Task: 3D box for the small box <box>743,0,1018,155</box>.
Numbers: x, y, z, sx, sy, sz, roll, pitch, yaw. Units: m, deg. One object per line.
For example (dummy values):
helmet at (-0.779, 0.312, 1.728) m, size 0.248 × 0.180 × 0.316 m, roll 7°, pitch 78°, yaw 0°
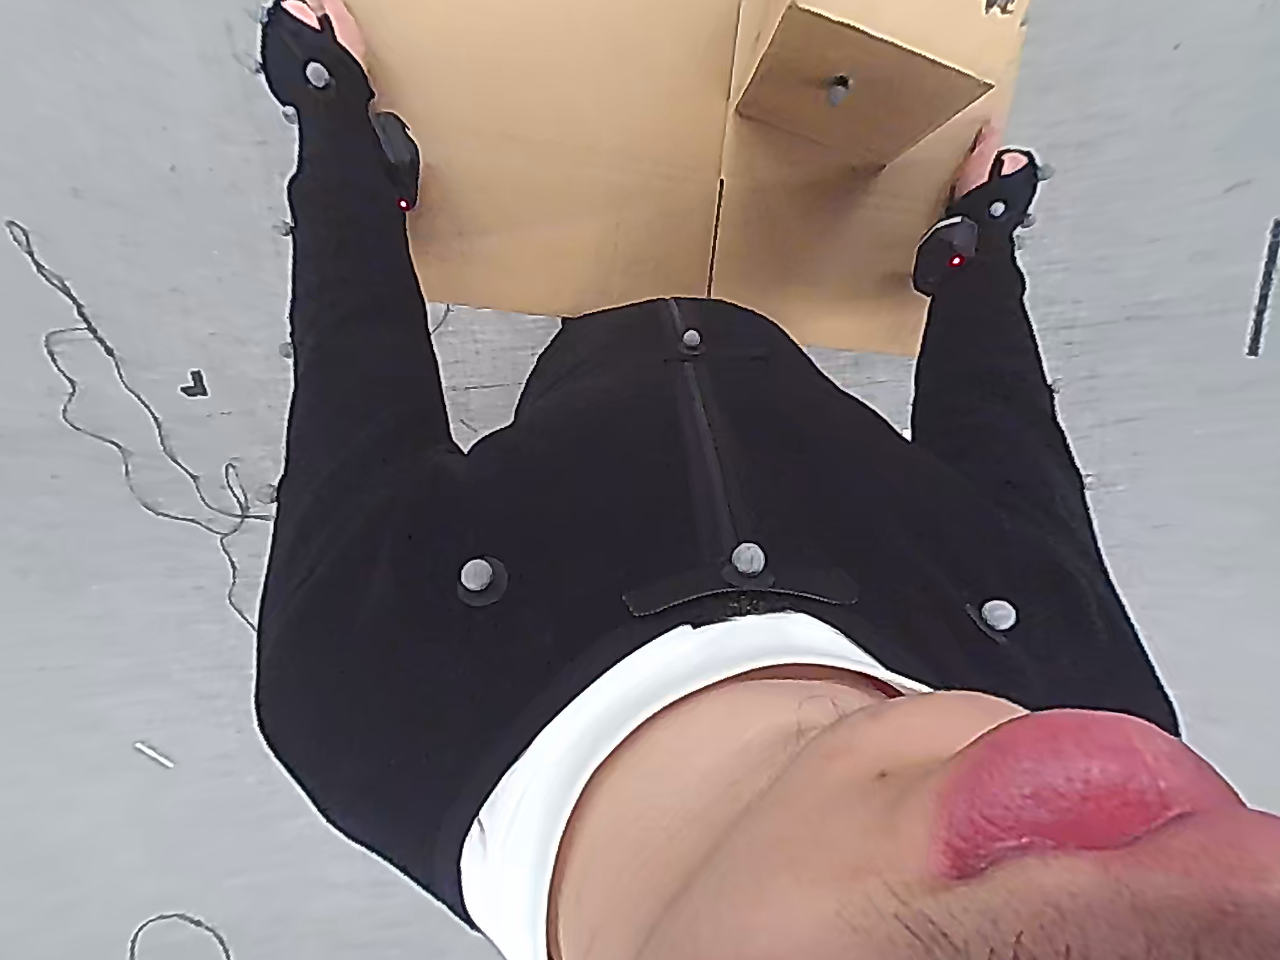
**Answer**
small box at (0.208, -0.424, 0.480) m, size 0.179 × 0.176 × 0.168 m, roll 15°, pitch 100°, yaw -6°
